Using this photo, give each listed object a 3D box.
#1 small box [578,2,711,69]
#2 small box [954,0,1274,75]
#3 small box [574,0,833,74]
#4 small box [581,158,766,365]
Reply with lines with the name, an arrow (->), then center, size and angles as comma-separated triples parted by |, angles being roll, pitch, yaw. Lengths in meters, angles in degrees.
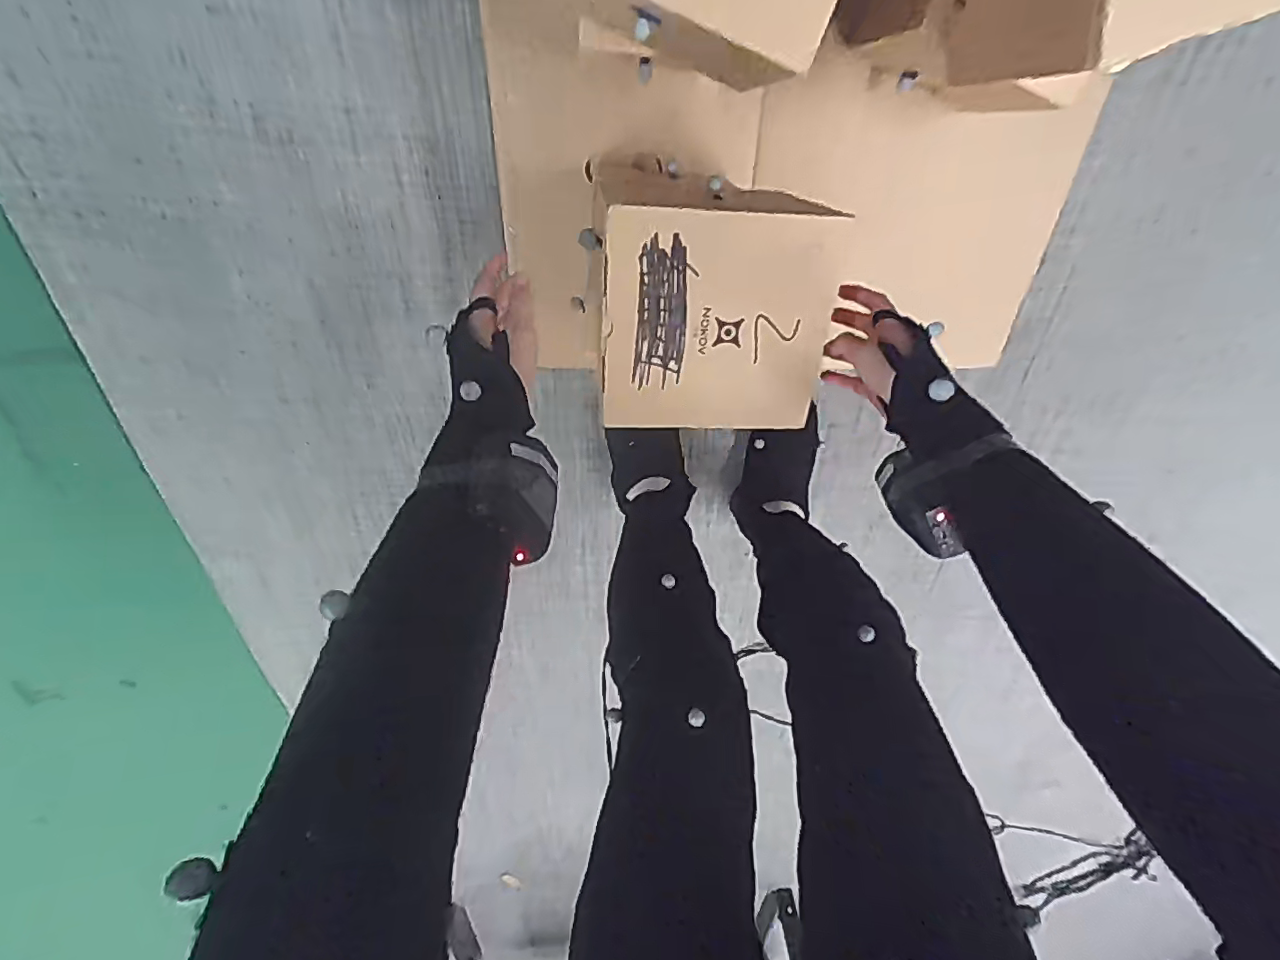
small box -> 0.032, -0.472, 0.466 | 0.168, 0.176, 0.179 | 0, 123, -5
small box -> 0.329, -0.385, 0.345 | 0.179, 0.176, 0.168 | -15, 123, 7
small box -> 0.041, -0.379, 0.330 | 0.179, 0.176, 0.168 | 15, 121, -15
small box -> 0.024, -0.249, 0.612 | 0.168, 0.176, 0.179 | 4, 123, -8
